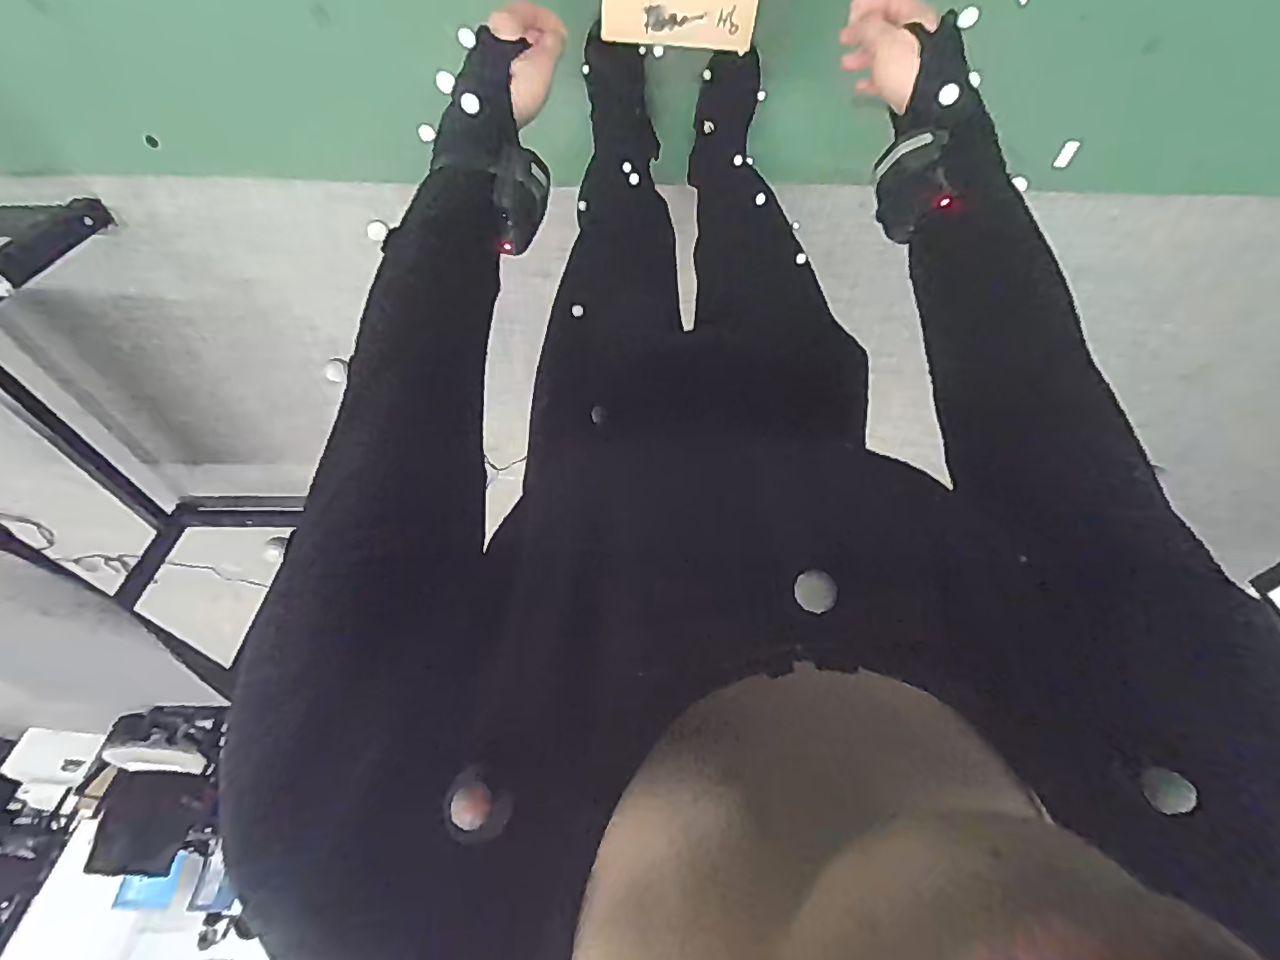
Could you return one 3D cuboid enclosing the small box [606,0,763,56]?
[{"bbox_3d":[0.048,-0.589,0.581,0.168,0.176,0.179,2,140,-4],"label":"small box"}]
